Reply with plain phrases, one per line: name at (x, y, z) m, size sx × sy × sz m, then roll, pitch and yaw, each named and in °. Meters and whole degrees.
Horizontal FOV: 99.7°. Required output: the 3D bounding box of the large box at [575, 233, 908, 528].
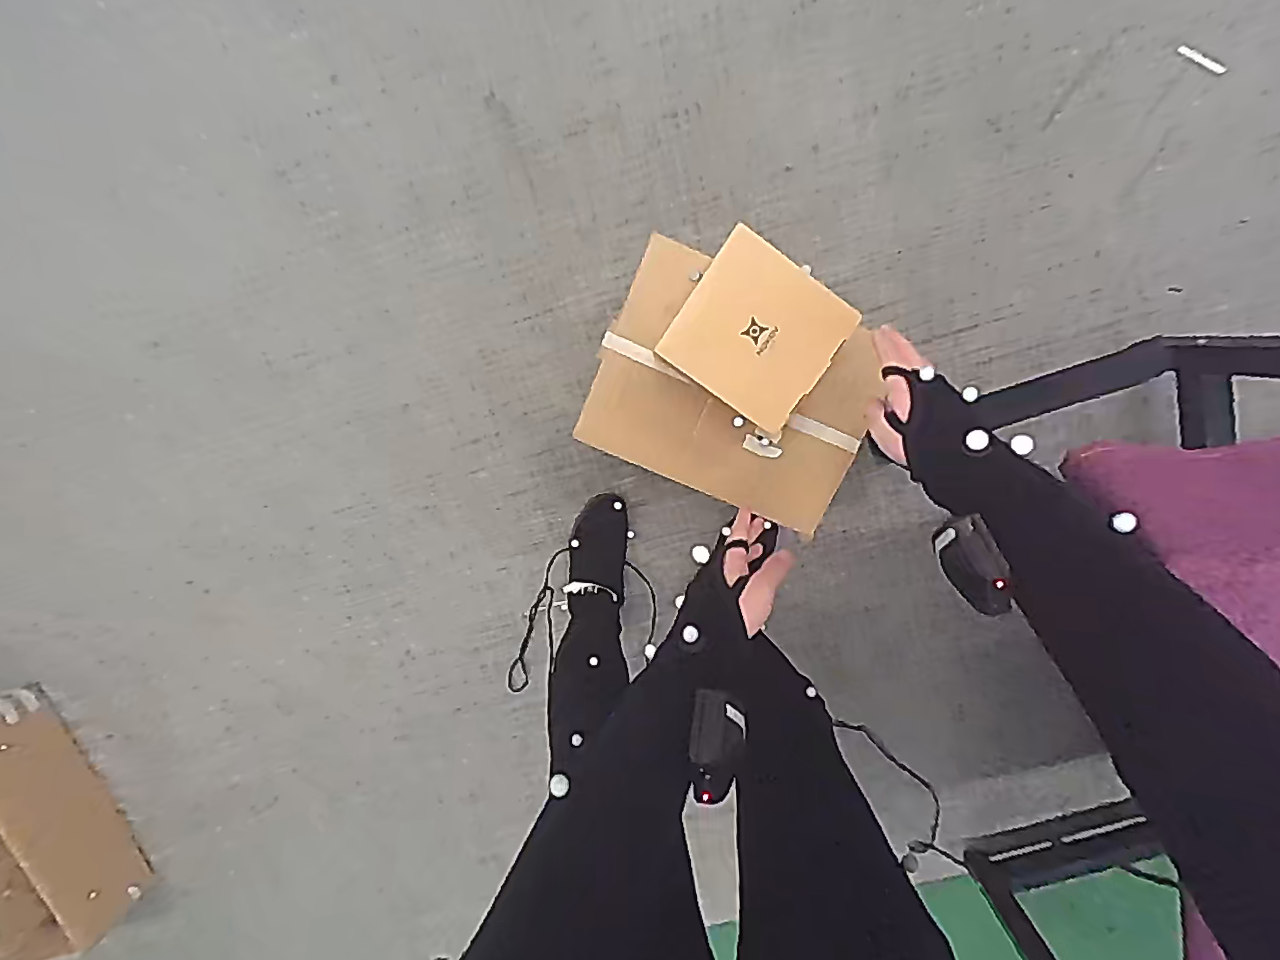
large box at (0.139, -0.167, 0.922) m, size 0.408 × 0.320 × 0.320 m, roll 22°, pitch 105°, yaw -6°

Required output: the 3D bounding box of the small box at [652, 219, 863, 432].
small box at (0.126, -0.180, 0.667) m, size 0.179 × 0.176 × 0.168 m, roll 33°, pitch 101°, yaw -8°
